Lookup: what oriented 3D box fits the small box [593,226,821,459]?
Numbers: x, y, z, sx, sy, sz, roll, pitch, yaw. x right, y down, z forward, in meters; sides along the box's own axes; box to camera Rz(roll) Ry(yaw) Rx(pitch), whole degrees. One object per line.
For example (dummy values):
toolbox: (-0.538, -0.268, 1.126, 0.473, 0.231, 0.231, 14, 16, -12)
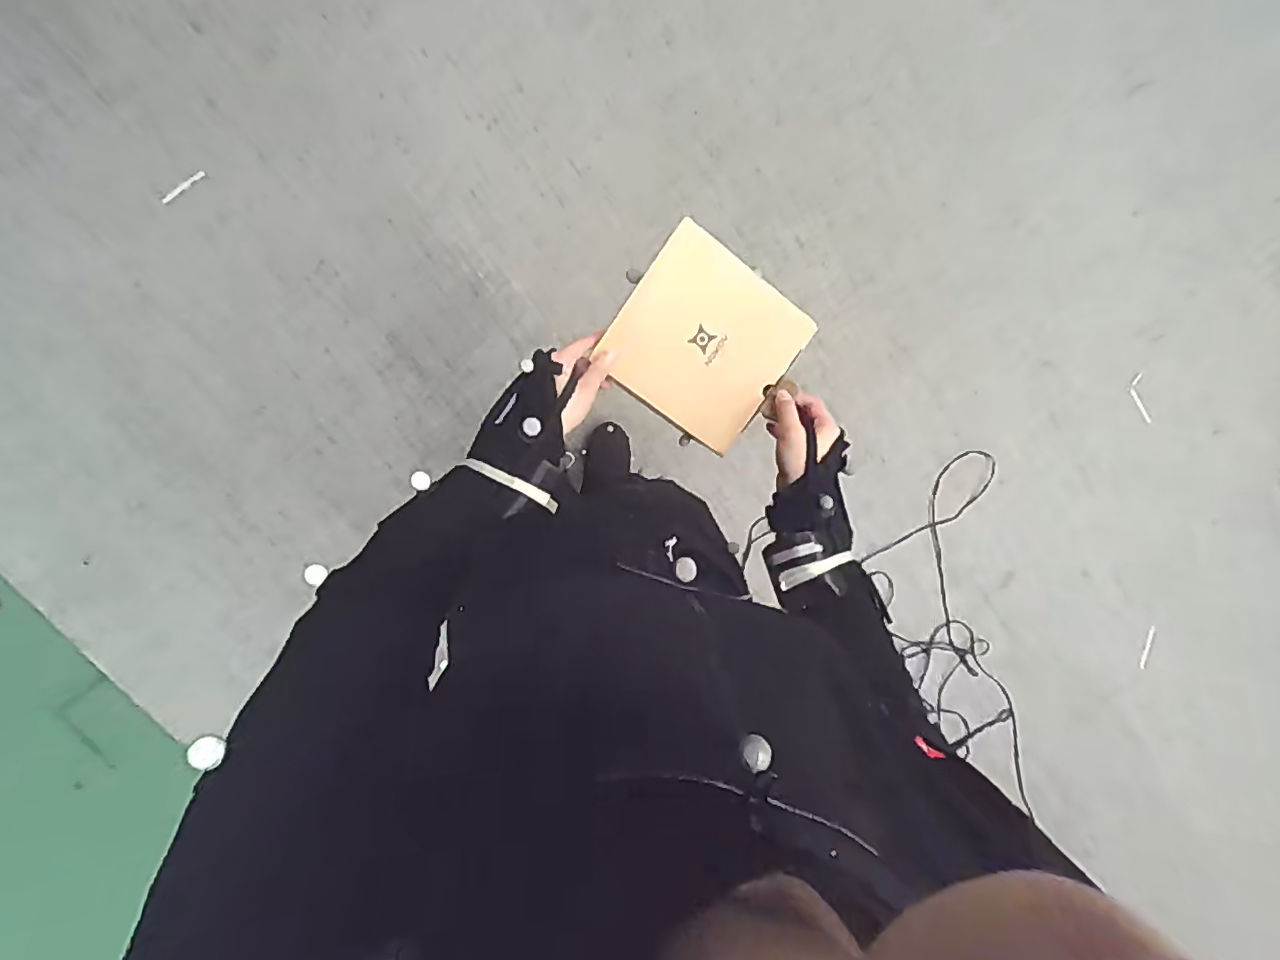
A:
small box: (0.059, -0.146, 0.616, 0.179, 0.176, 0.168, 34, 95, -13)
